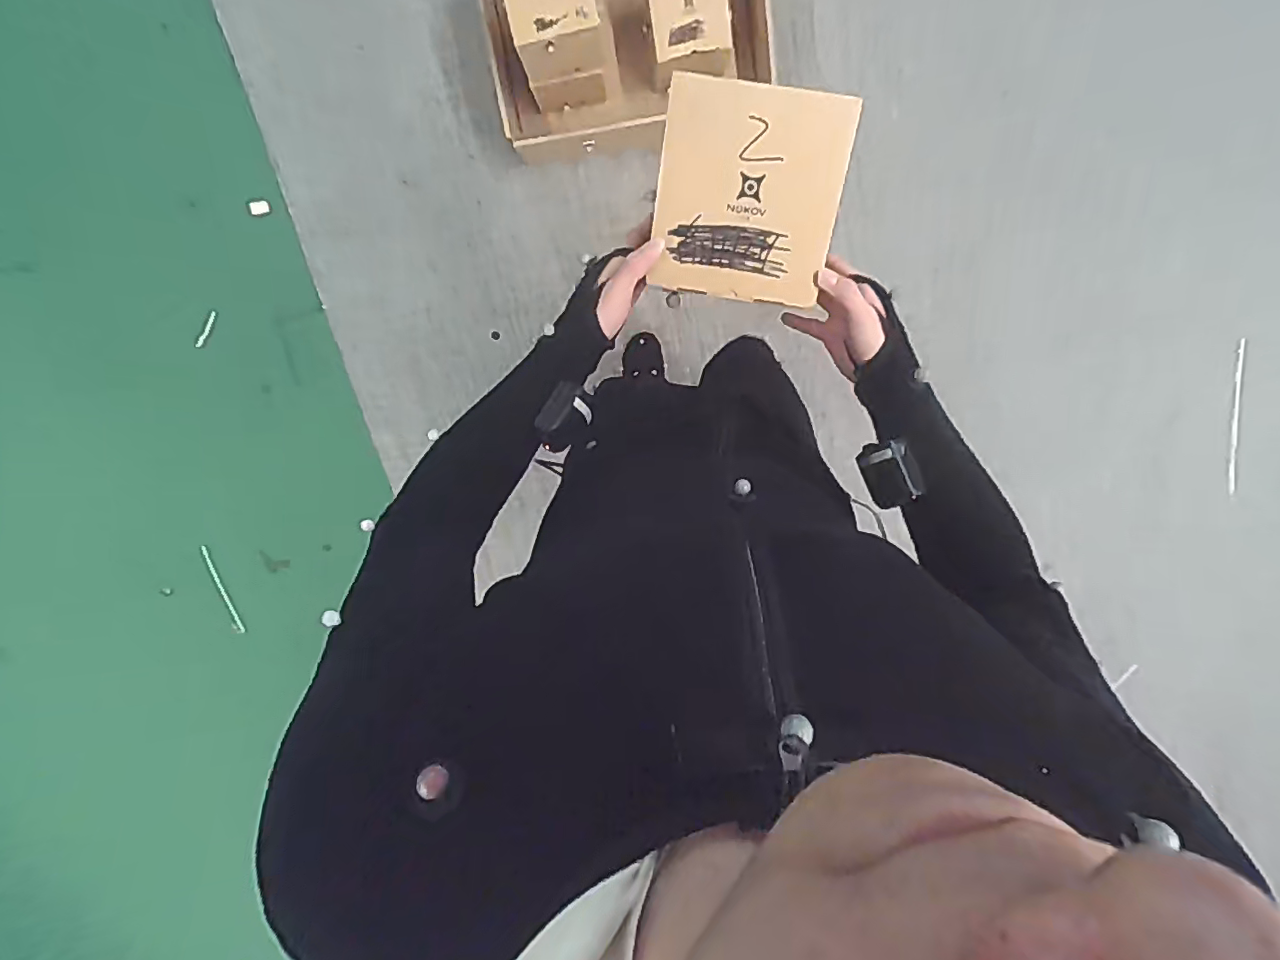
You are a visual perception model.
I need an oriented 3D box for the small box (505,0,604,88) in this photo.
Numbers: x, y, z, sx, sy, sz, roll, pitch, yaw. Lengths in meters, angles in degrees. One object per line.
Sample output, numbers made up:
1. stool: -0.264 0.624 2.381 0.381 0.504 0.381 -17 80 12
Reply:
1. small box: -0.171 -0.920 1.061 0.168 0.176 0.179 -11 104 3
